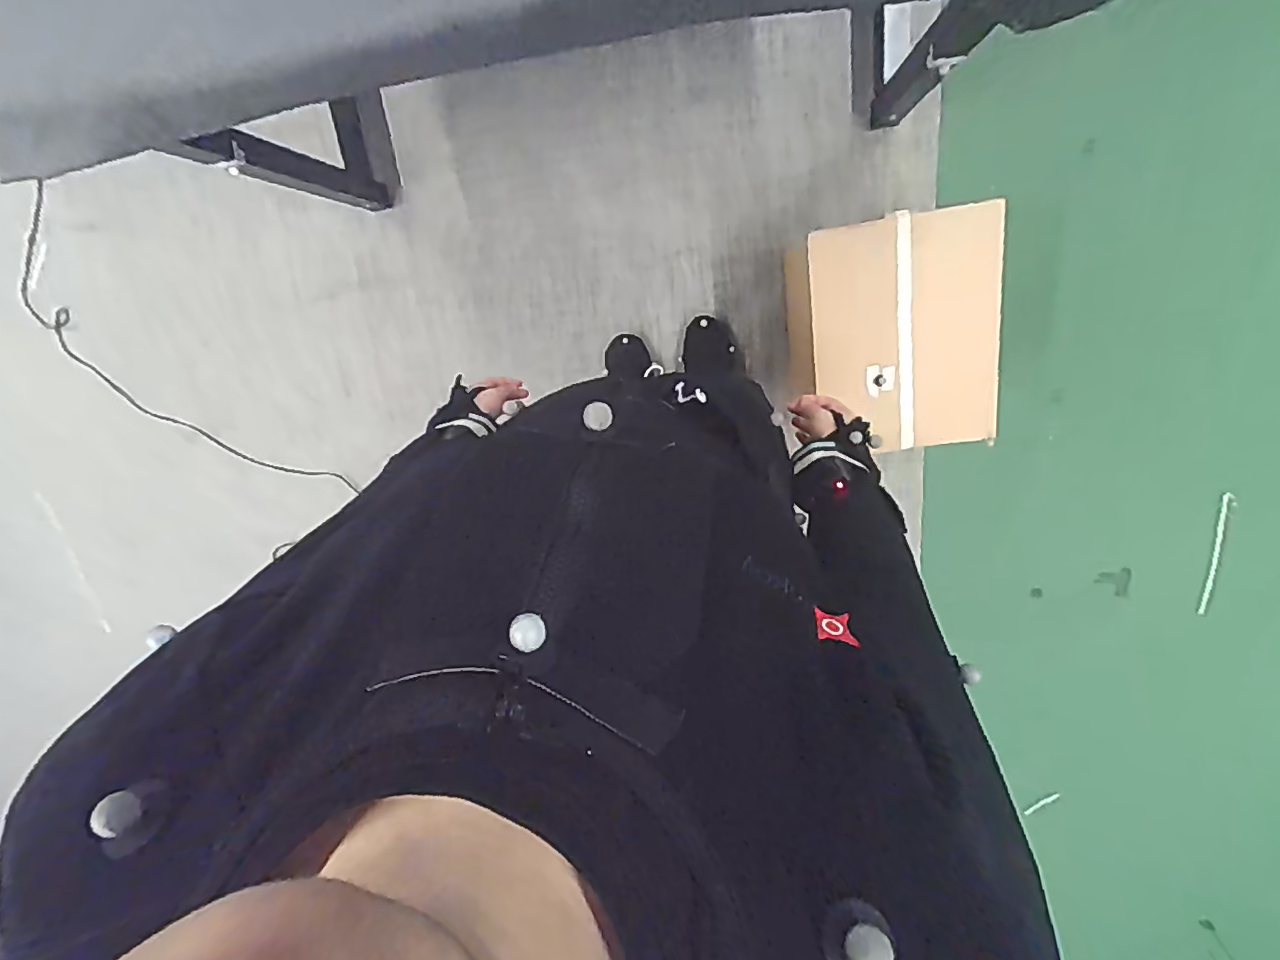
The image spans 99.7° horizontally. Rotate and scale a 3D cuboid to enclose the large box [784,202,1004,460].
[{"bbox_3d":[0.486,-0.289,1.089,0.320,0.320,0.408,-7,106,10],"label":"large box"}]
